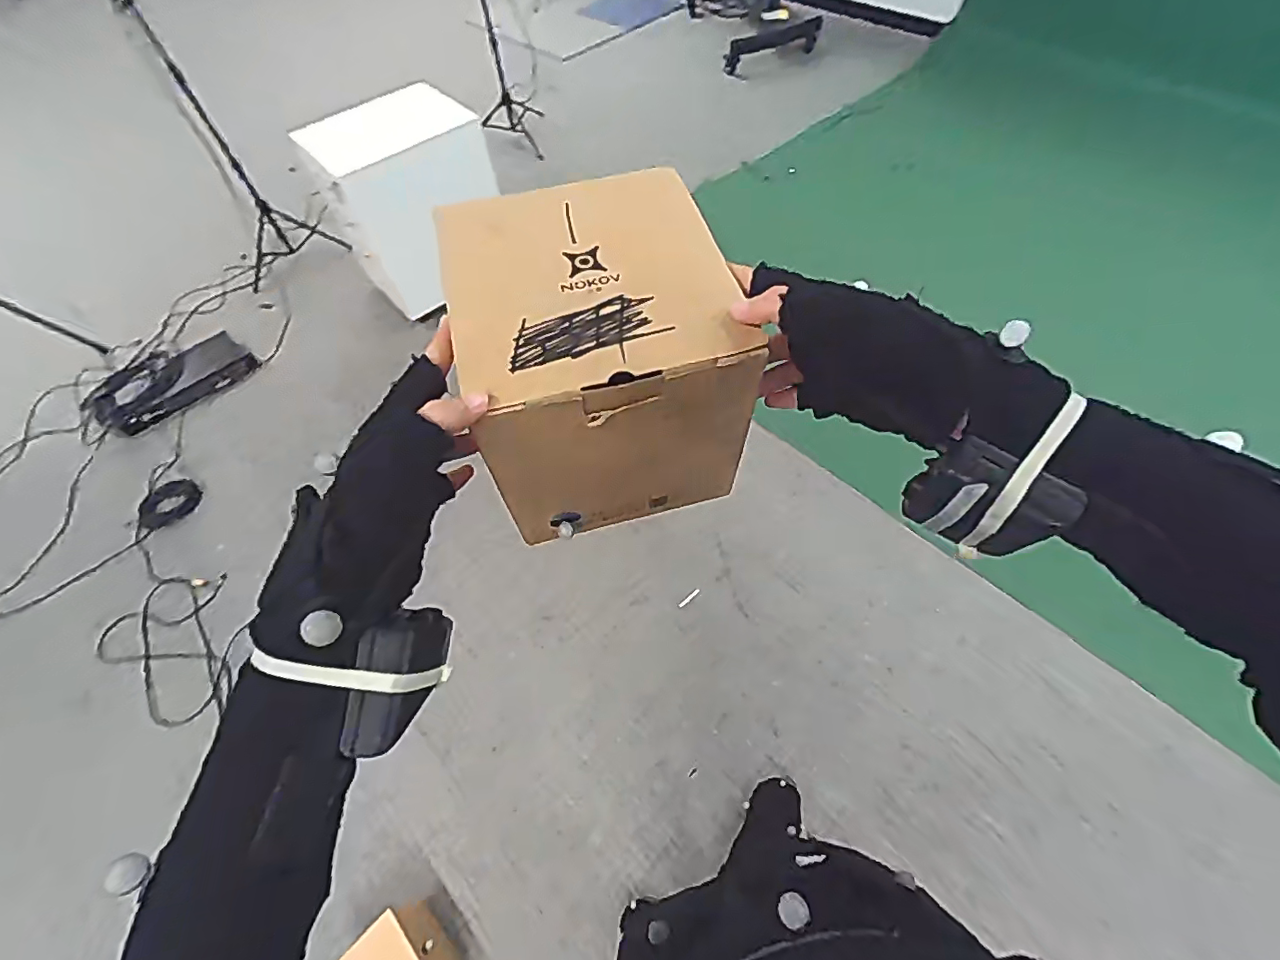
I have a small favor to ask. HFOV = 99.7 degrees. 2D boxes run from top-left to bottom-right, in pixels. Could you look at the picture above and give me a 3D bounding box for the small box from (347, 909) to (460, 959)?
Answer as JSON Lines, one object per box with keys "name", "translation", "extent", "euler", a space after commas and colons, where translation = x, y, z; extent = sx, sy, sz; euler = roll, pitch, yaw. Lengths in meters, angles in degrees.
{"name": "small box", "translation": [-0.461, 0.965, 1.032], "extent": [0.179, 0.176, 0.168], "euler": [39, 68, 24]}
